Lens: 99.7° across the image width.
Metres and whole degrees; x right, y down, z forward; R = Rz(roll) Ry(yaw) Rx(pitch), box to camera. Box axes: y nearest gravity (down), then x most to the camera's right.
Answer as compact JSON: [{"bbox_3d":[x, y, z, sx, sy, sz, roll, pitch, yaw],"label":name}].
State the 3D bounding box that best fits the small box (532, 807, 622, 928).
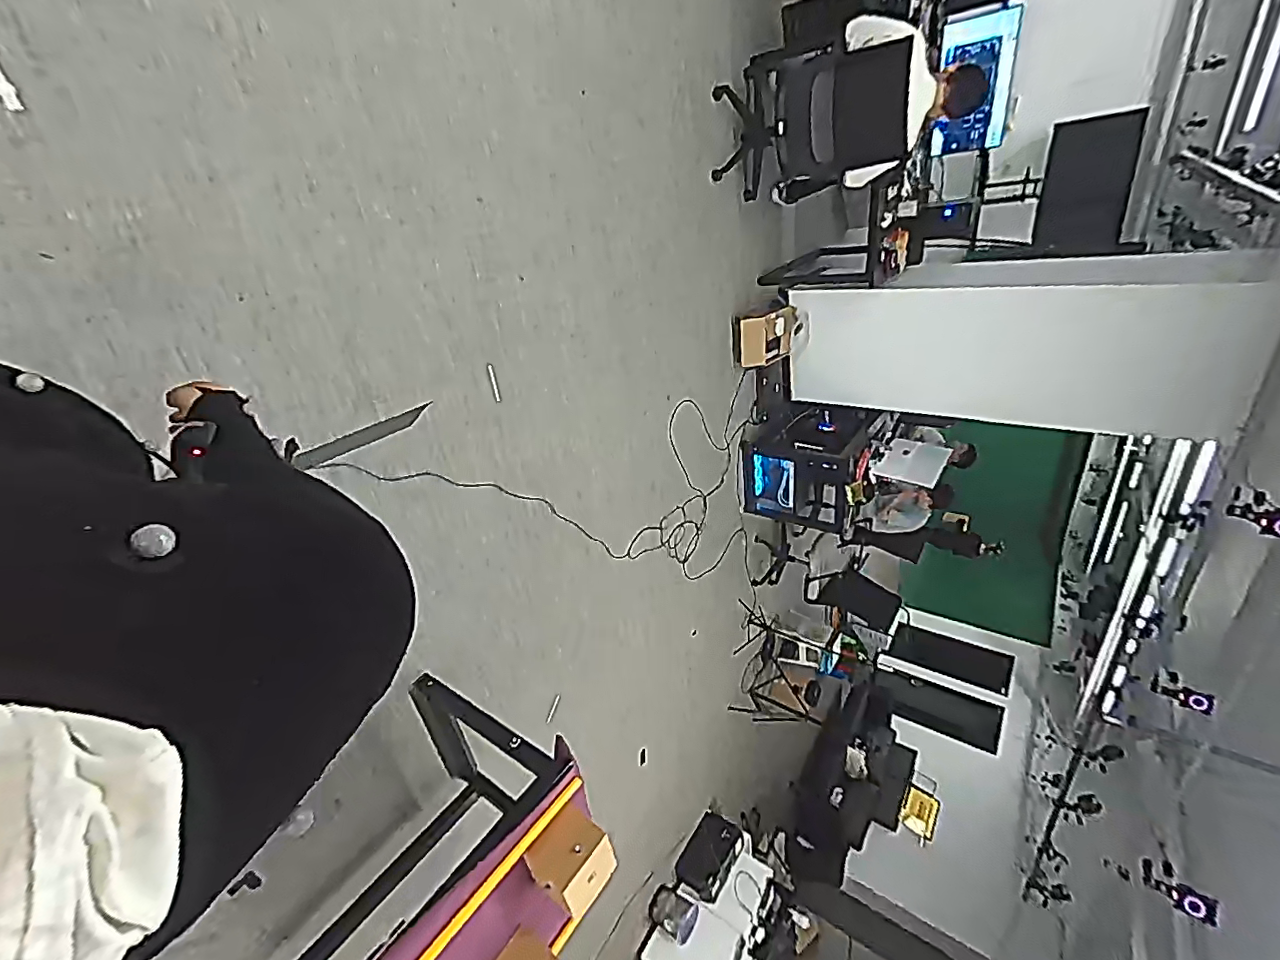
[{"bbox_3d":[-0.178,1.065,1.497,0.179,0.176,0.168,-38,129,-40],"label":"small box"}]
